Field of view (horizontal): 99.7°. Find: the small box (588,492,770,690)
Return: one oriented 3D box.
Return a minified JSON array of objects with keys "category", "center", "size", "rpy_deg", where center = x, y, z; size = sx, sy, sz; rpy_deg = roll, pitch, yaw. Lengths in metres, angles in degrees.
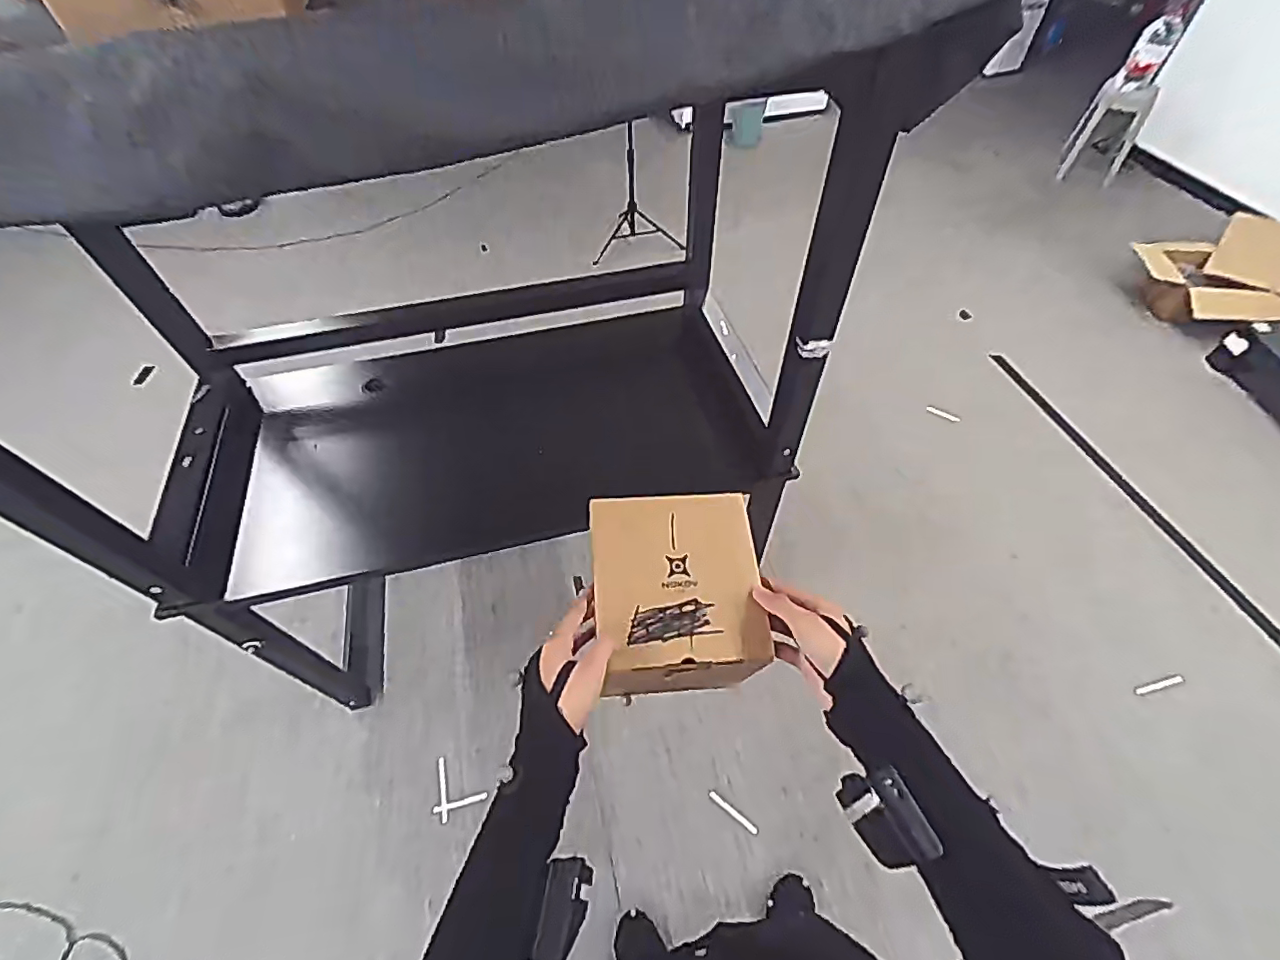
[{"category":"small box","center":[0.029,0.130,0.600],"size":[0.168,0.176,0.179],"rpy_deg":[-2,60,-6]}]
